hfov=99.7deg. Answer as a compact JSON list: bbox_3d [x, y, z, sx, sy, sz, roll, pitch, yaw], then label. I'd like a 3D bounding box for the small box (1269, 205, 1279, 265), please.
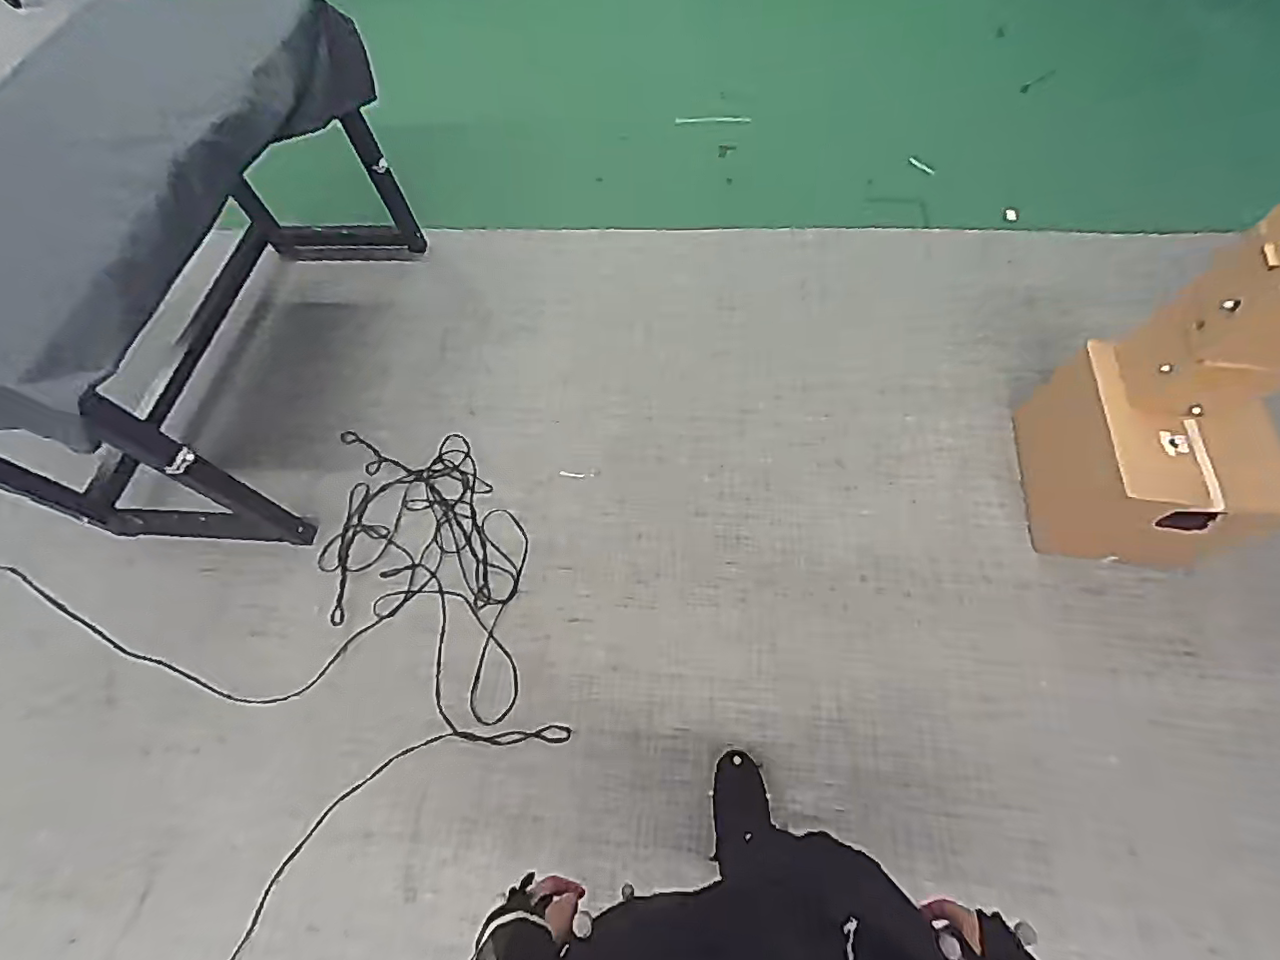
[{"bbox_3d":[1.078,-0.380,0.771,0.168,0.176,0.179,11,67,9],"label":"small box"}]

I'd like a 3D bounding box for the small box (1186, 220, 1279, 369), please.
[{"bbox_3d":[1.088,-0.308,0.917,0.179,0.176,0.168,9,67,8],"label":"small box"}]

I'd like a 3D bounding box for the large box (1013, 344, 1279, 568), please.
[{"bbox_3d":[1.124,-0.049,1.240,0.320,0.320,0.408,6,65,8],"label":"large box"}]
